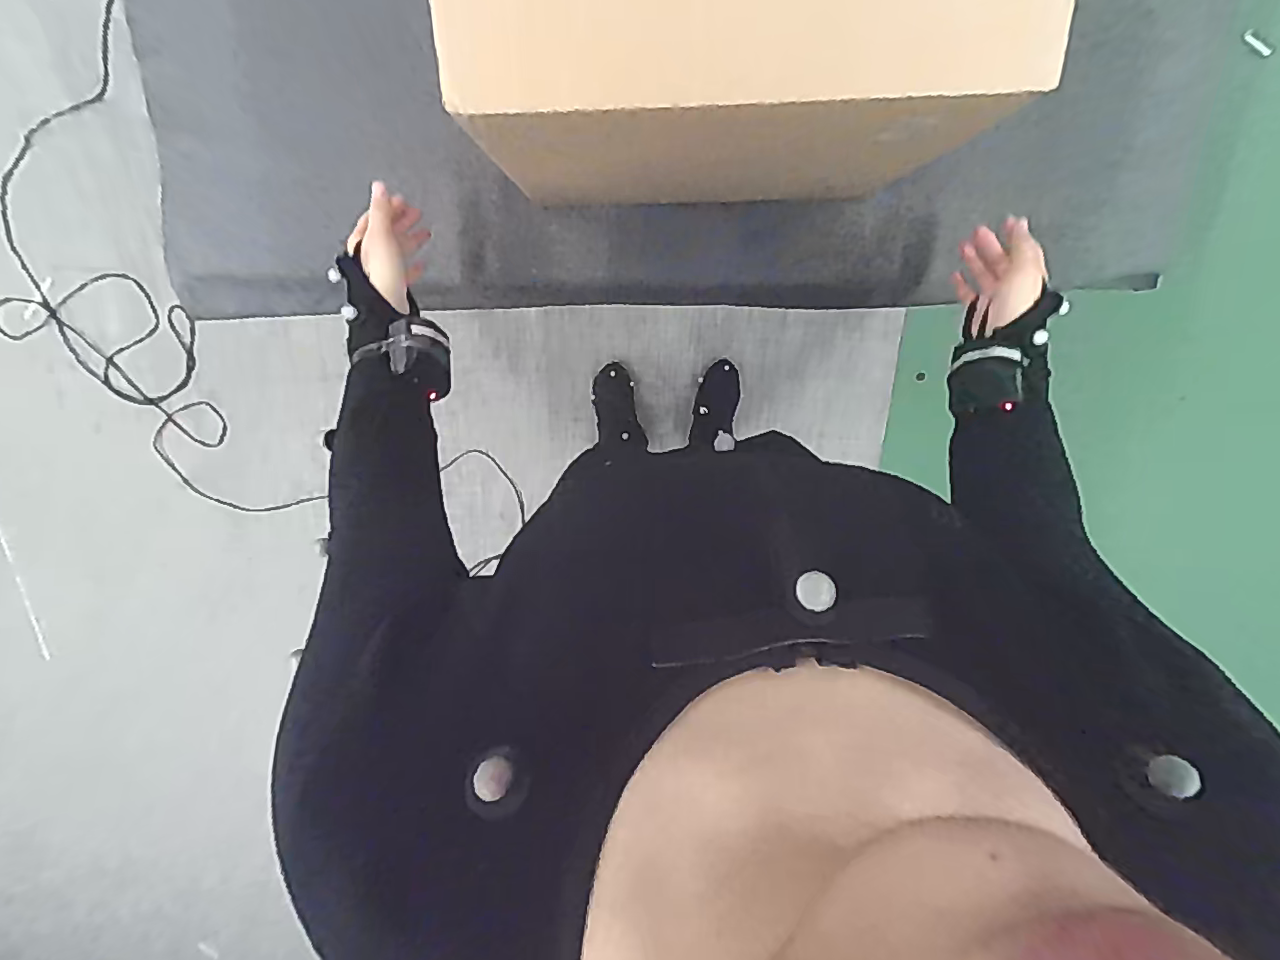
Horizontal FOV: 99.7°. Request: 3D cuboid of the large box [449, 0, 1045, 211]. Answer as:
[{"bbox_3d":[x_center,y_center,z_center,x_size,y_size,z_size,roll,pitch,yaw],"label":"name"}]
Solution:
[{"bbox_3d":[0.064,-0.445,0.477,0.408,0.320,0.320,-2,107,1],"label":"large box"}]
